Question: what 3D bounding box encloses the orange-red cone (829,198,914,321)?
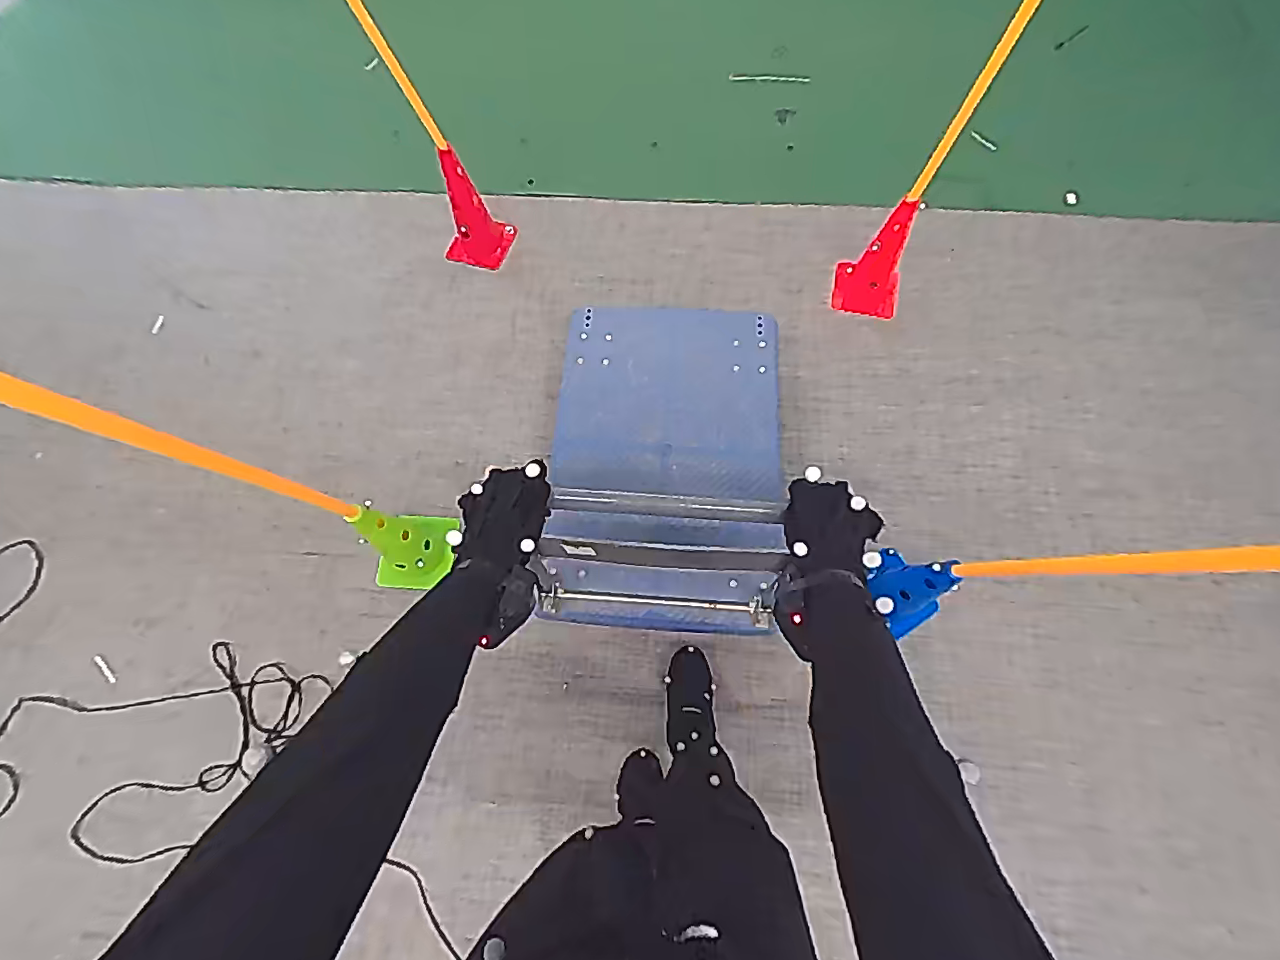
[{"bbox_3d":[0.714,-0.666,1.588,0.198,0.360,0.199,14,70,8],"label":"orange-red cone"}]
